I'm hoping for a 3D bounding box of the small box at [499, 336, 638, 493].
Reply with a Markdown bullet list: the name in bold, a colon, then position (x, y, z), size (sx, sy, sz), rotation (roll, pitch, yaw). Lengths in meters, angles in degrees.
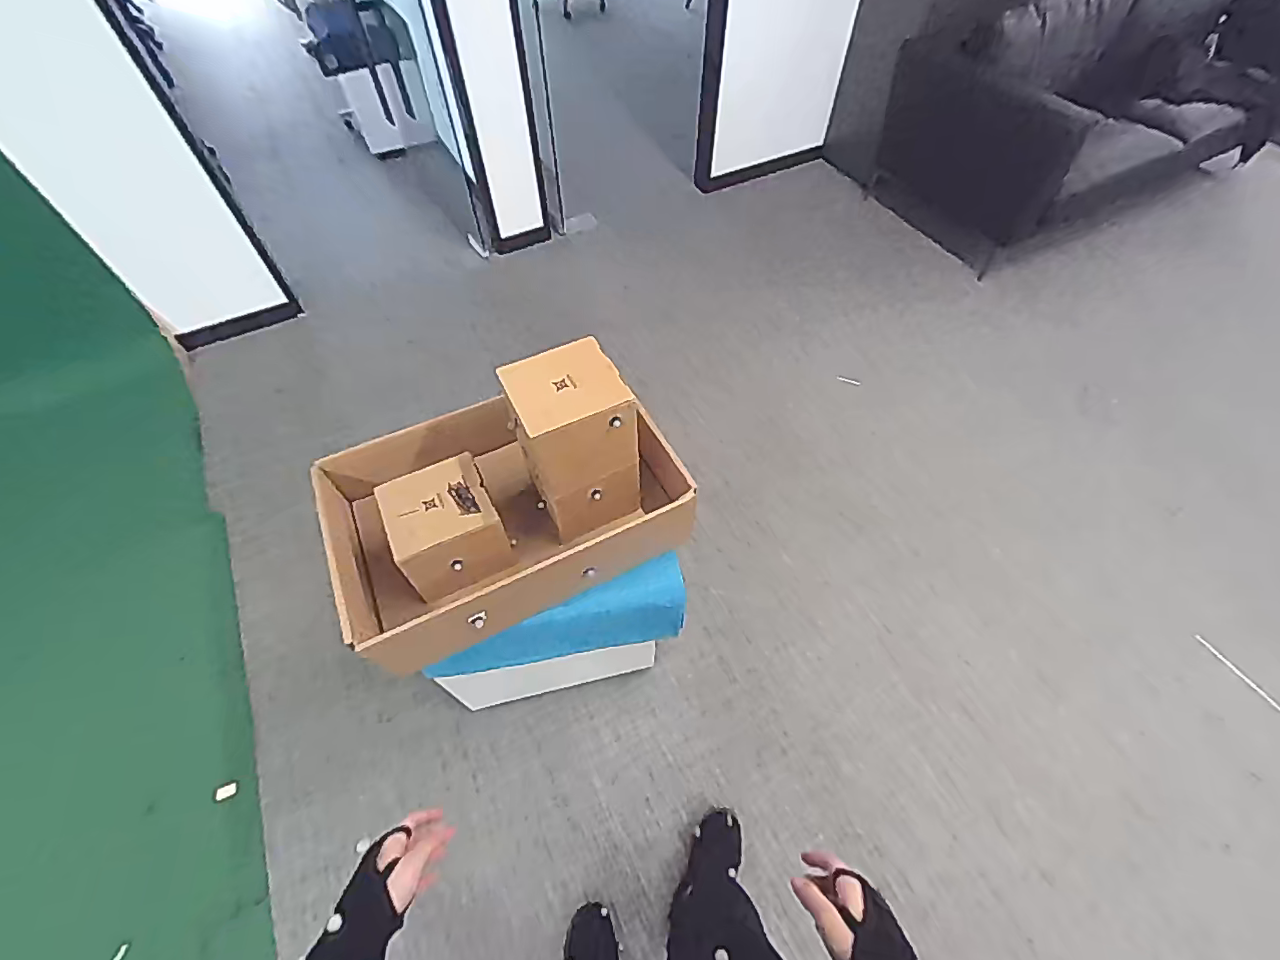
- **small box**: position (-0.113, -0.105, 0.912), size (0.179, 0.176, 0.168), rotation (-23, 57, -15)
